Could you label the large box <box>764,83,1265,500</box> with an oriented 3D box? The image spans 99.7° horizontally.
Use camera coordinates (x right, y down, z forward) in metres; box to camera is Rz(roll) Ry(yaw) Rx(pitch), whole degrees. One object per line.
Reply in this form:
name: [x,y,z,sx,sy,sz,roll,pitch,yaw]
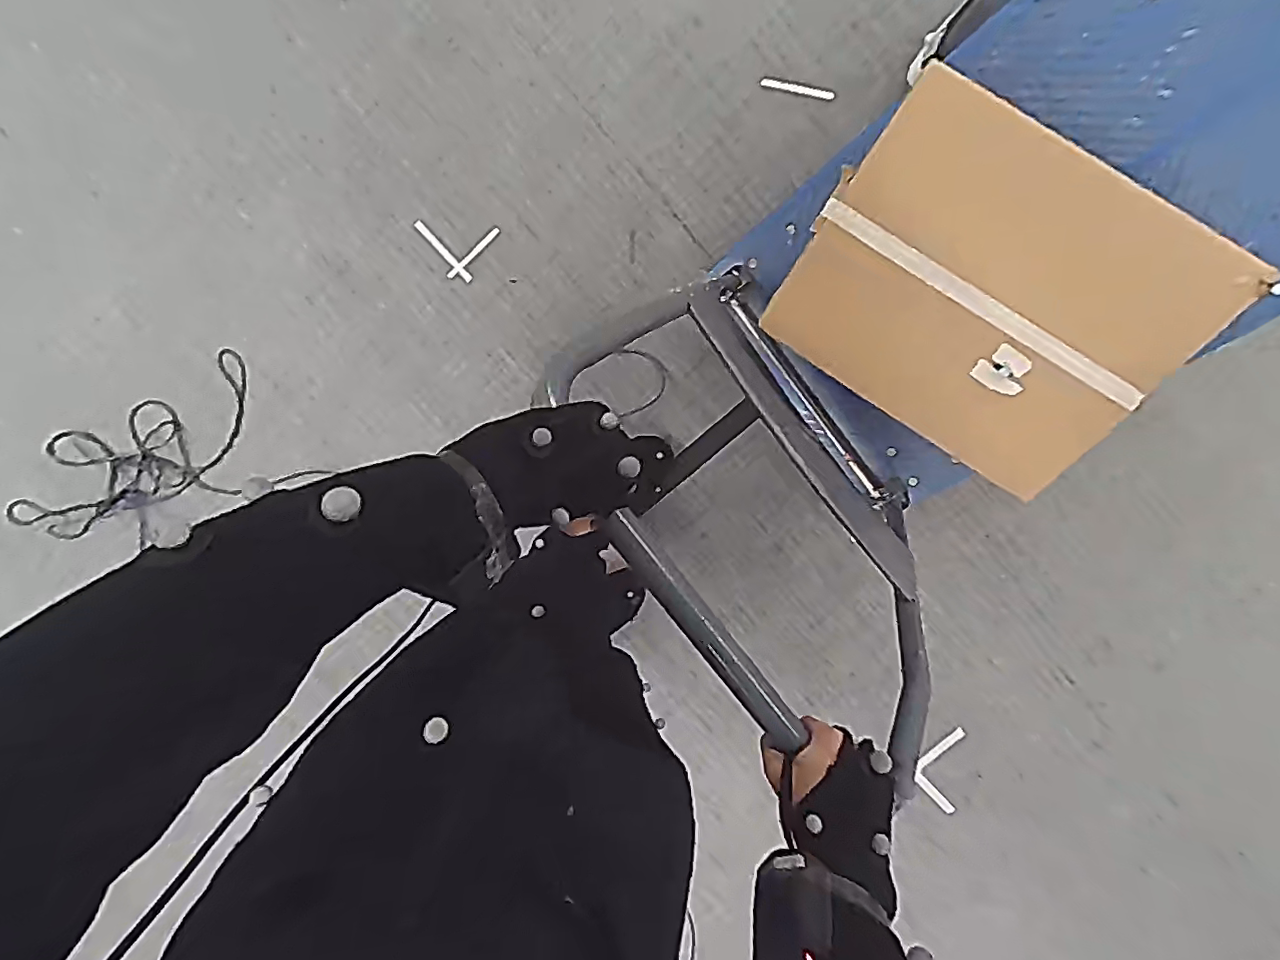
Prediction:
large box: [0.434,-0.247,0.751,0.408,0.320,0.320,34,119,3]
